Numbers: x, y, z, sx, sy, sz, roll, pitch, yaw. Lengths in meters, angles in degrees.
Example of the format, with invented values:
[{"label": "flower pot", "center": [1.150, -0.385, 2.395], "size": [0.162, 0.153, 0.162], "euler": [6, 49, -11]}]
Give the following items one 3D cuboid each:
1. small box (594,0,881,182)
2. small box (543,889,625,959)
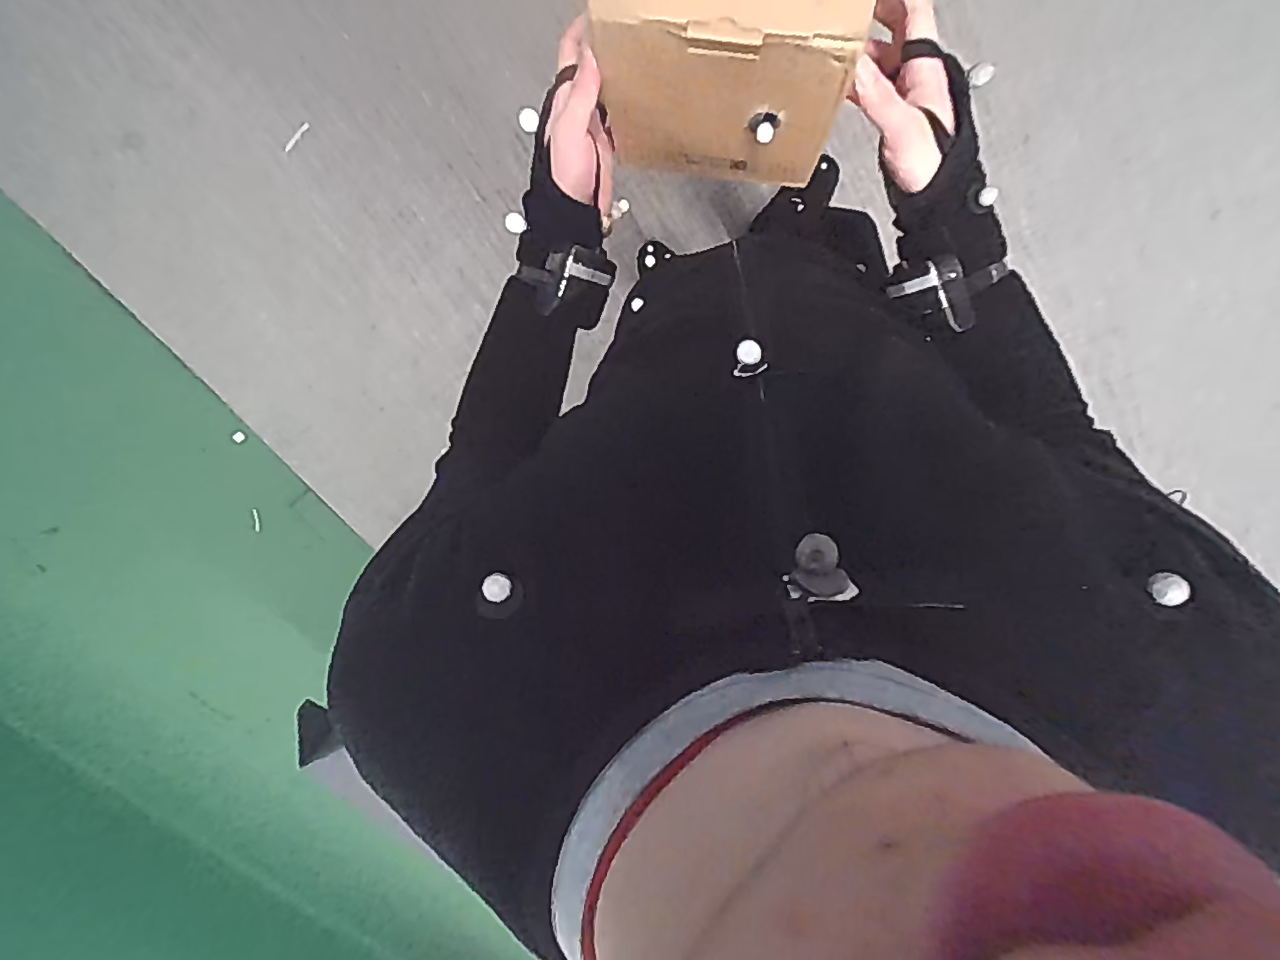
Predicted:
[{"label": "small box", "center": [0.072, -0.345, 0.385], "size": [0.168, 0.176, 0.179], "euler": [10, 91, 2]}, {"label": "small box", "center": [-0.162, 1.395, 1.661], "size": [0.179, 0.176, 0.168], "euler": [-31, 110, 24]}]
